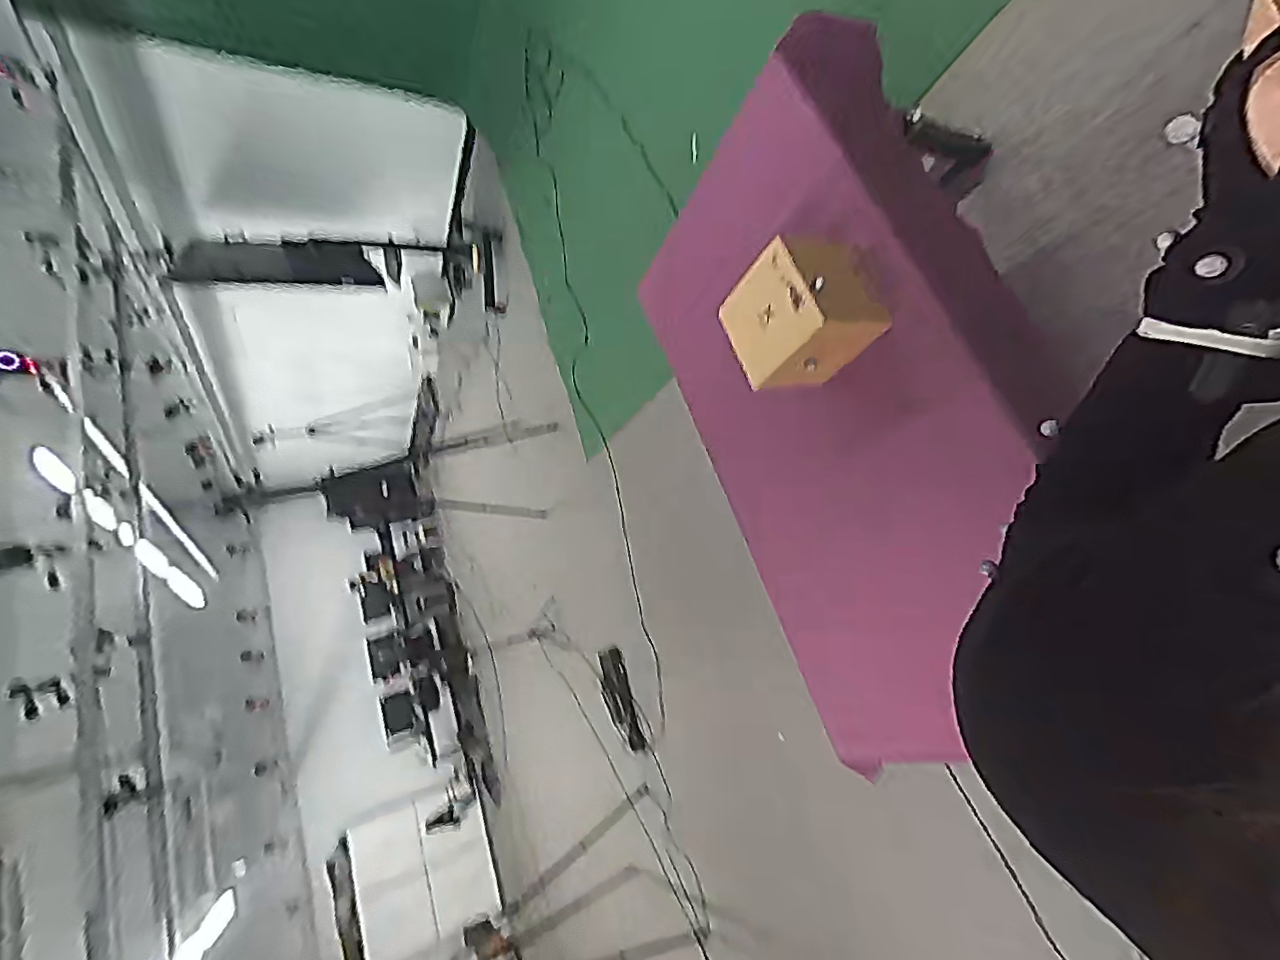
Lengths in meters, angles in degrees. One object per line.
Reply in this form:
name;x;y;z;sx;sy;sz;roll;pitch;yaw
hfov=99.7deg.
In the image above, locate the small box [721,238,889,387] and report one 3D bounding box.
small box;0.273;-0.276;0.910;0.179;0.176;0.168;-47;60;54
